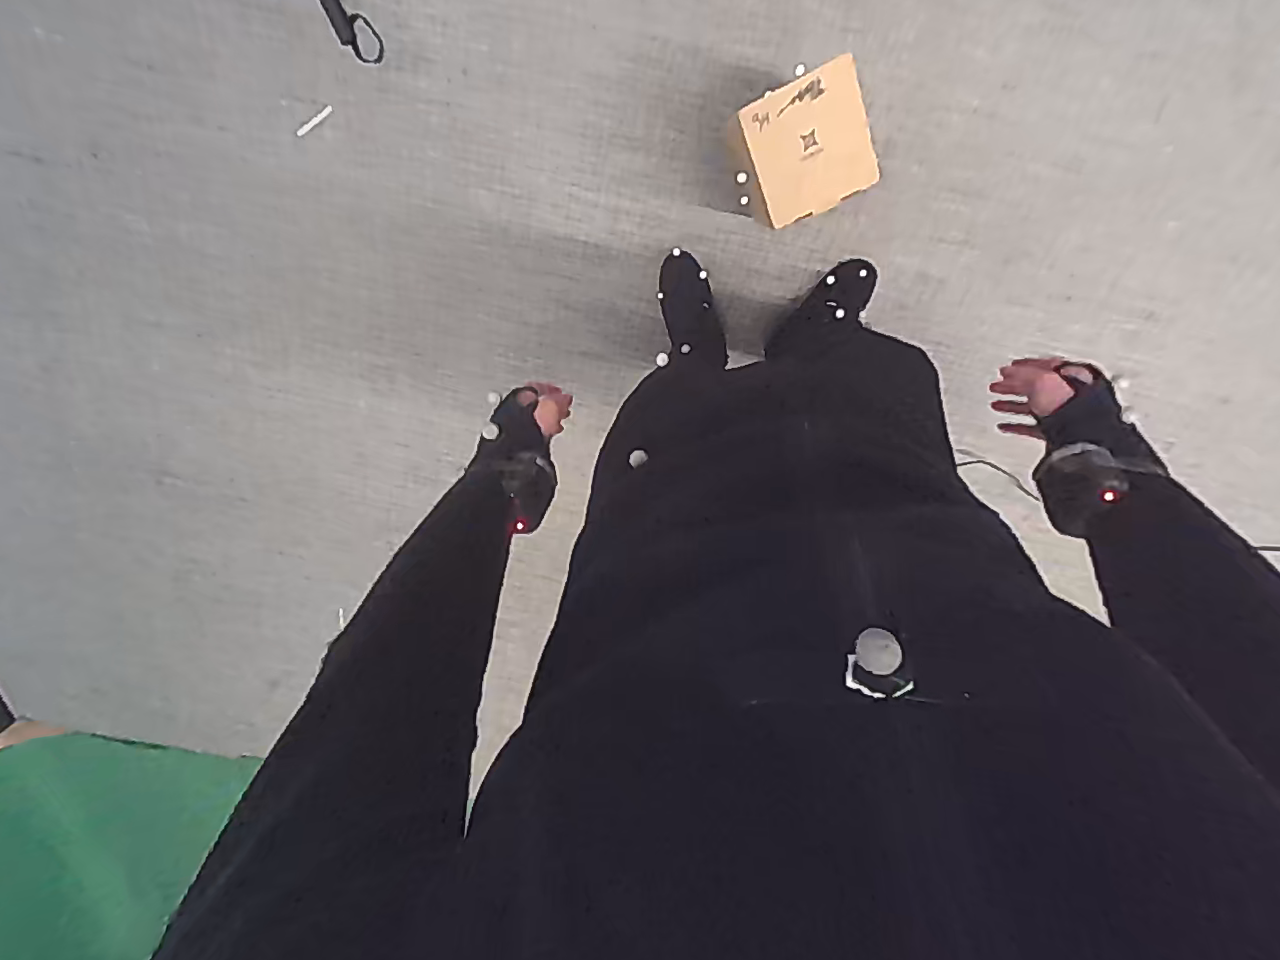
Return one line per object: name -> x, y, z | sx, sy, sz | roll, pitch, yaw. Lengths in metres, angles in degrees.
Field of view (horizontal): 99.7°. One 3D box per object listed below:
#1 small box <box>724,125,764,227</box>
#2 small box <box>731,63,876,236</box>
small box -> 0.265, -0.602, 1.012 | 0.168, 0.176, 0.179 | -21, 114, 15
small box -> 0.255, -0.522, 0.868 | 0.168, 0.176, 0.179 | -21, 117, 14
